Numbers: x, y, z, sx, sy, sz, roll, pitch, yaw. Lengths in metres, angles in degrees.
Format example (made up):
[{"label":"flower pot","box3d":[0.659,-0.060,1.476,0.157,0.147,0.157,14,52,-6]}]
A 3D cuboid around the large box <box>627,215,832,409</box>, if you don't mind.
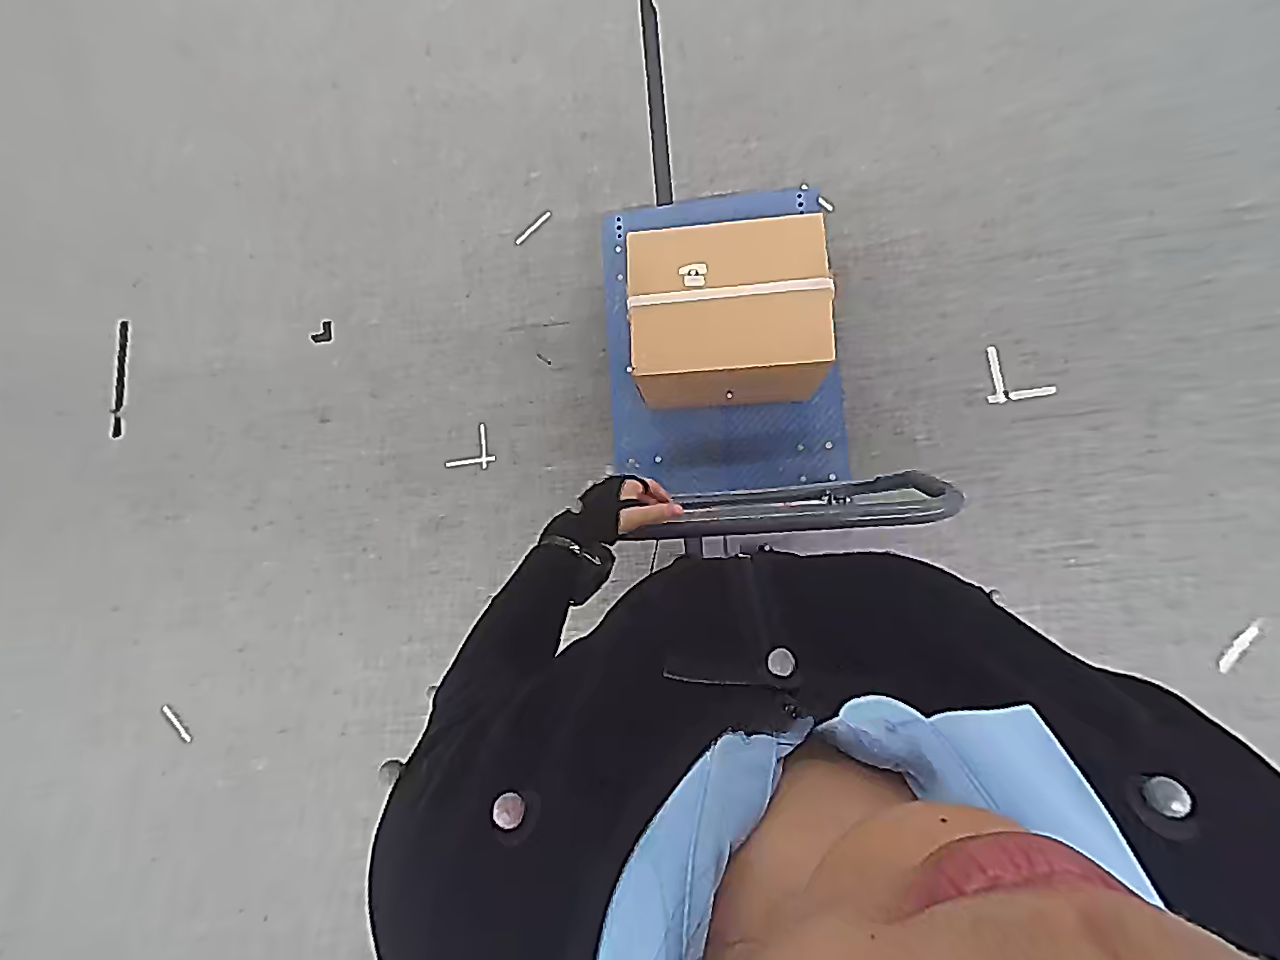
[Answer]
[{"label":"large box","box3d":[0.197,-0.360,1.254,0.408,0.320,0.320,-3,82,8]}]
